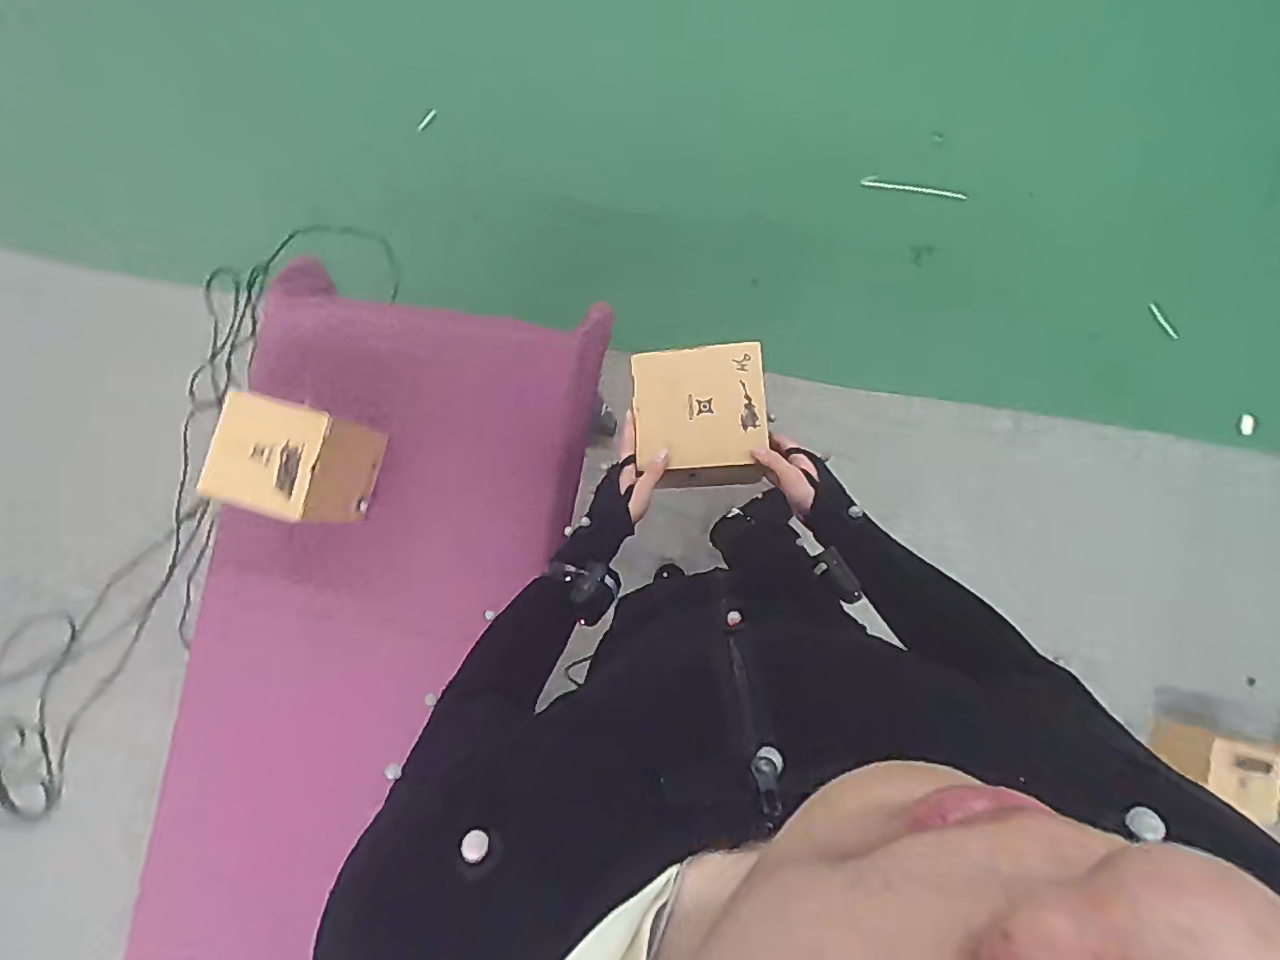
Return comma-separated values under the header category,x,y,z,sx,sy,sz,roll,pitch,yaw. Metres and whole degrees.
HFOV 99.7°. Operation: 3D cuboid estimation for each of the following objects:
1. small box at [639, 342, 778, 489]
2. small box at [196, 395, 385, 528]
category,x,y,z,sx,sy,sz,roll,pitch,yaw
small box,0.100,-0.082,0.775,0.179,0.176,0.168,-2,80,9
small box,-0.554,-0.024,0.884,0.179,0.176,0.168,15,86,6
